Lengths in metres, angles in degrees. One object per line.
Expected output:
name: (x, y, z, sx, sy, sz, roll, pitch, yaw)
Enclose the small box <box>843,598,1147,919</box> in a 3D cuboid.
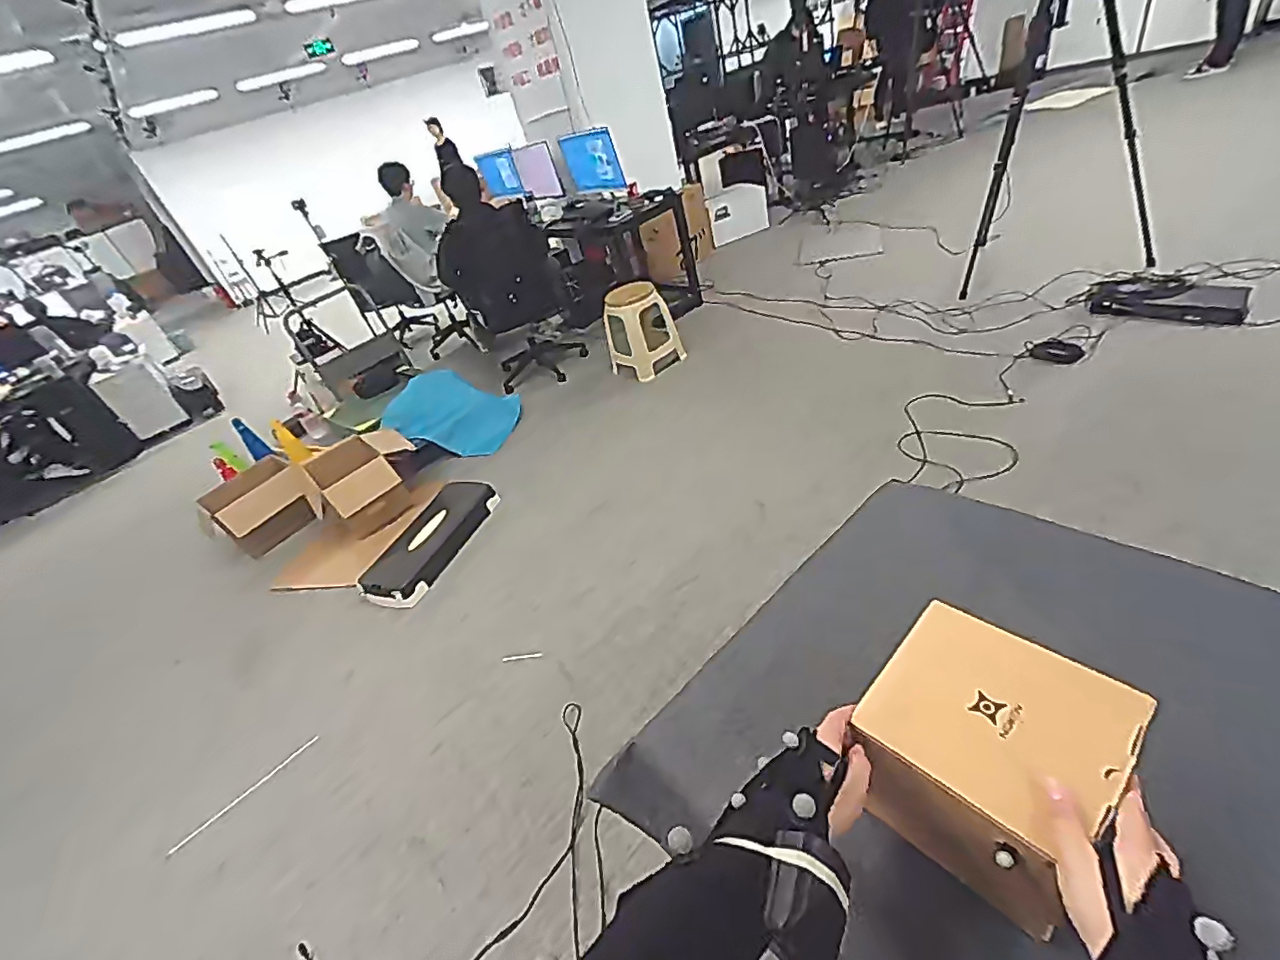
small box: (0.313, 0.252, 0.504, 0.168, 0.176, 0.179, -39, 41, -25)
